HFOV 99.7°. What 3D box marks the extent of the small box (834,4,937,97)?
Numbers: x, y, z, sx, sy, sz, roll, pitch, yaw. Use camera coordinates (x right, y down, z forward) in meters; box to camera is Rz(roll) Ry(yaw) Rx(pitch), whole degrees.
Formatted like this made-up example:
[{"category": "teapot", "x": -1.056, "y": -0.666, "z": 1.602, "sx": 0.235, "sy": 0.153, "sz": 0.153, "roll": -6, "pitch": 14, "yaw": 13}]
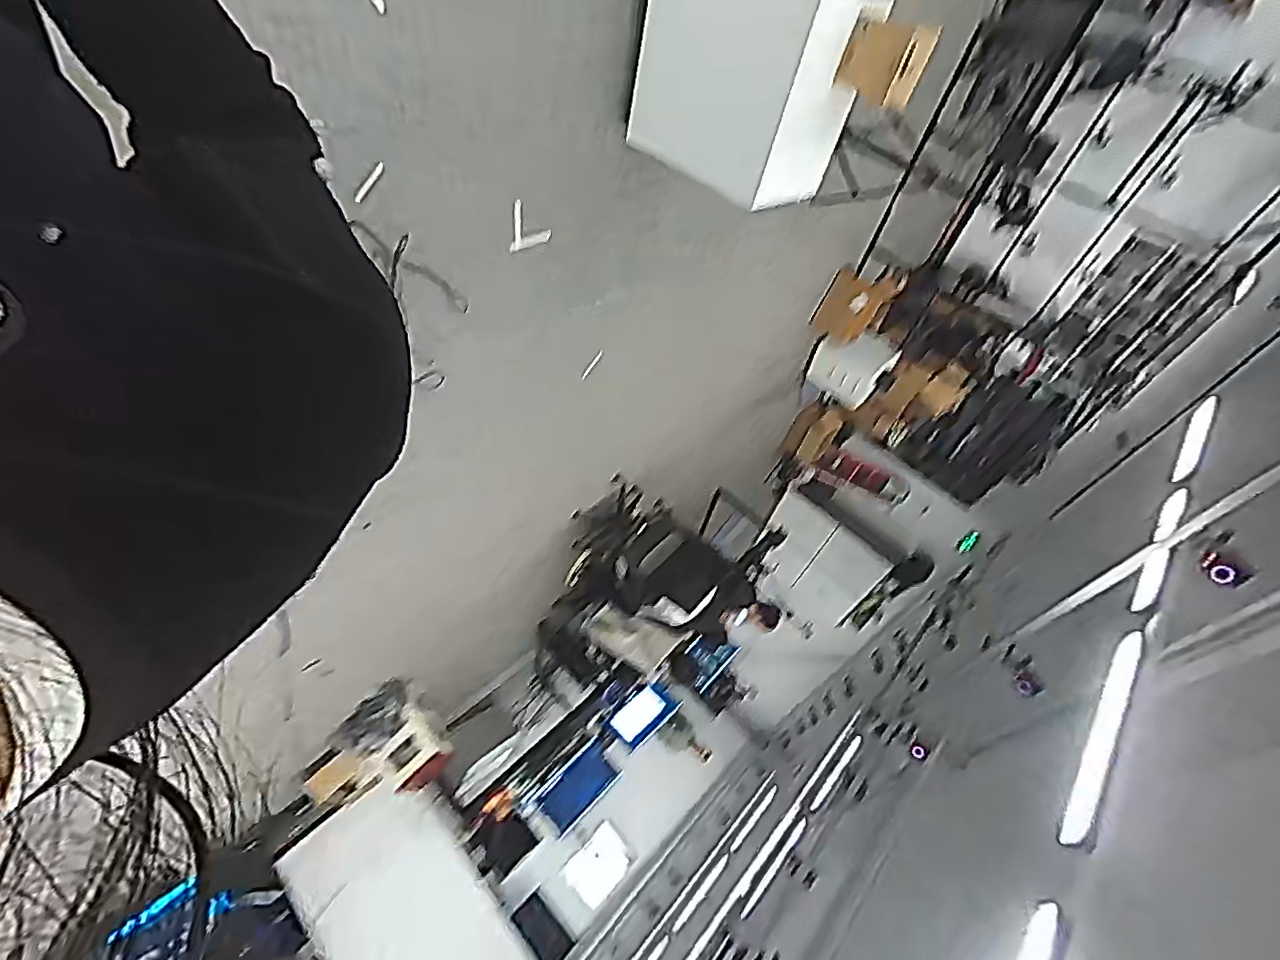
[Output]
[{"category": "small box", "x": 0.671, "y": -1.182, "z": 1.491, "sx": 0.179, "sy": 0.176, "sz": 0.168, "roll": -32, "pitch": 153, "yaw": -37}]
